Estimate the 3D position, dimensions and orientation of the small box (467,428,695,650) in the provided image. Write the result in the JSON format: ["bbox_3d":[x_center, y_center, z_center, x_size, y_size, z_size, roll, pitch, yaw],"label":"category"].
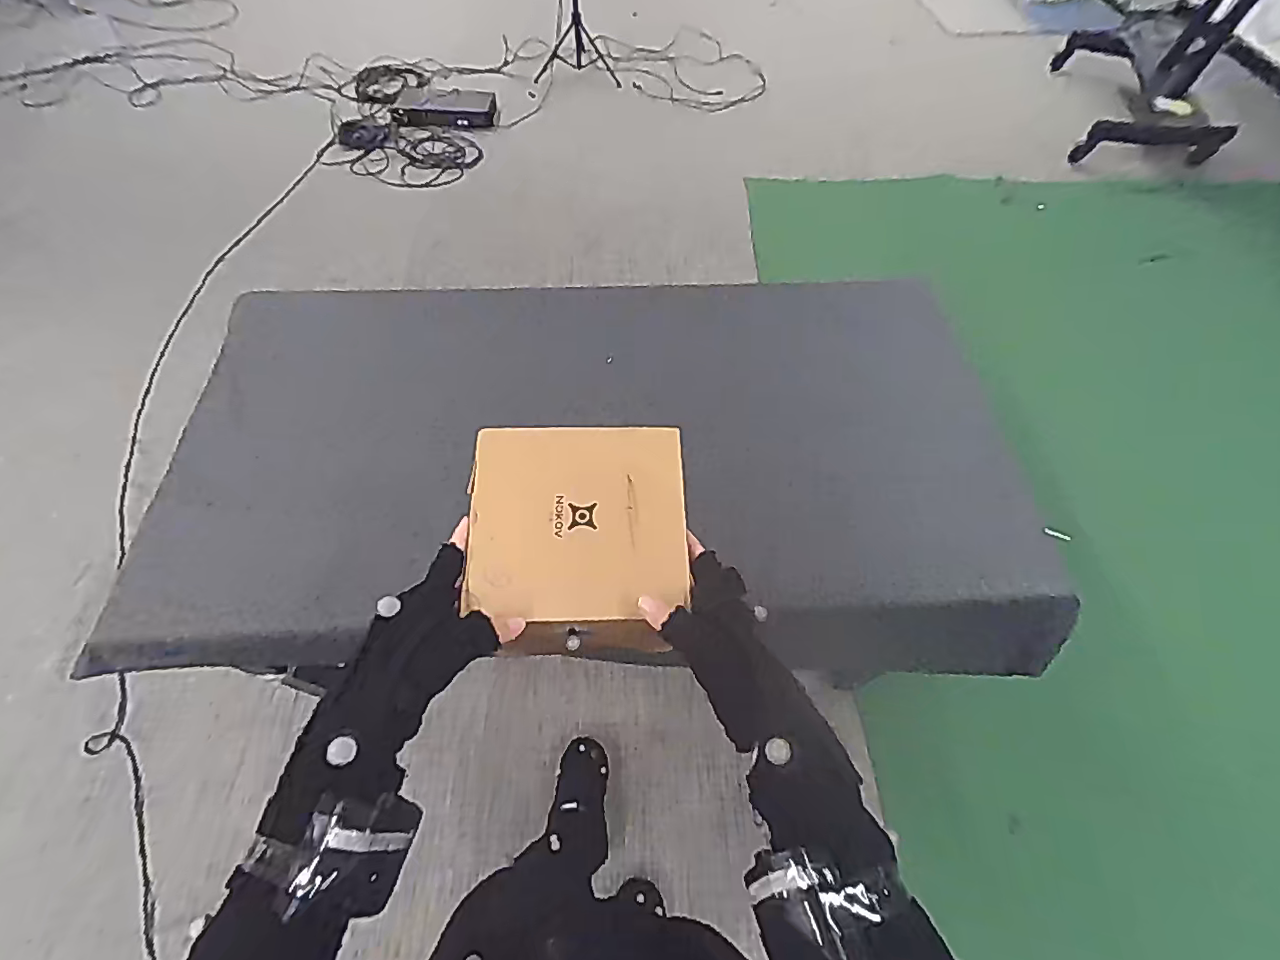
[{"bbox_3d":[-0.051,0.064,0.513,0.179,0.176,0.168,-1,66,-5],"label":"small box"}]
